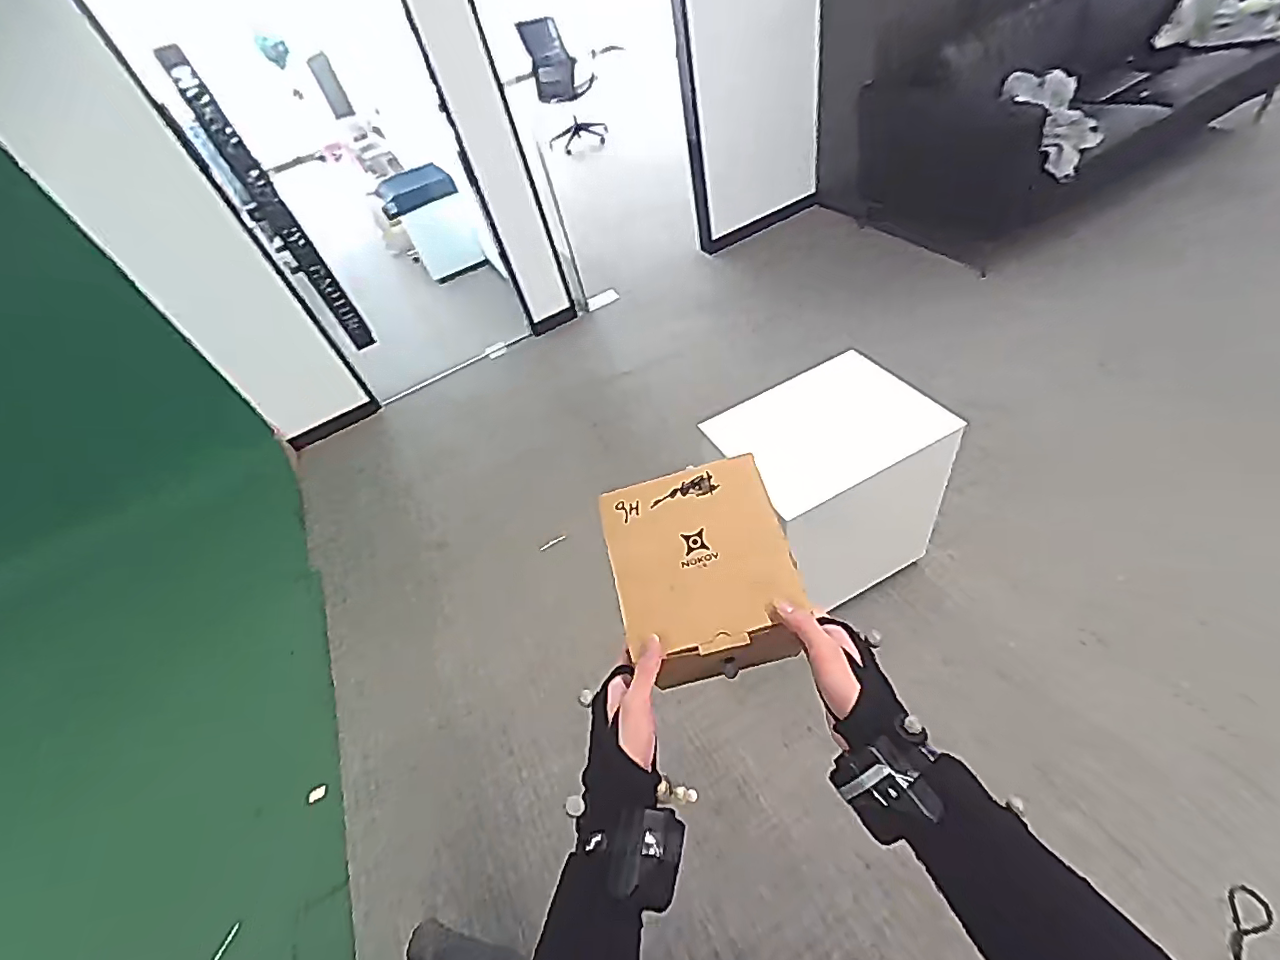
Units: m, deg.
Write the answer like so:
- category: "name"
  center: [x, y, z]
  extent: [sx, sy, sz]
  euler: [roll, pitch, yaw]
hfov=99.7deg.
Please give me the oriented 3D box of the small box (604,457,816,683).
- category: "small box"
  center: [0.076, 0.108, 0.585]
  extent: [0.168, 0.176, 0.179]
  euler: [-18, 59, 3]
